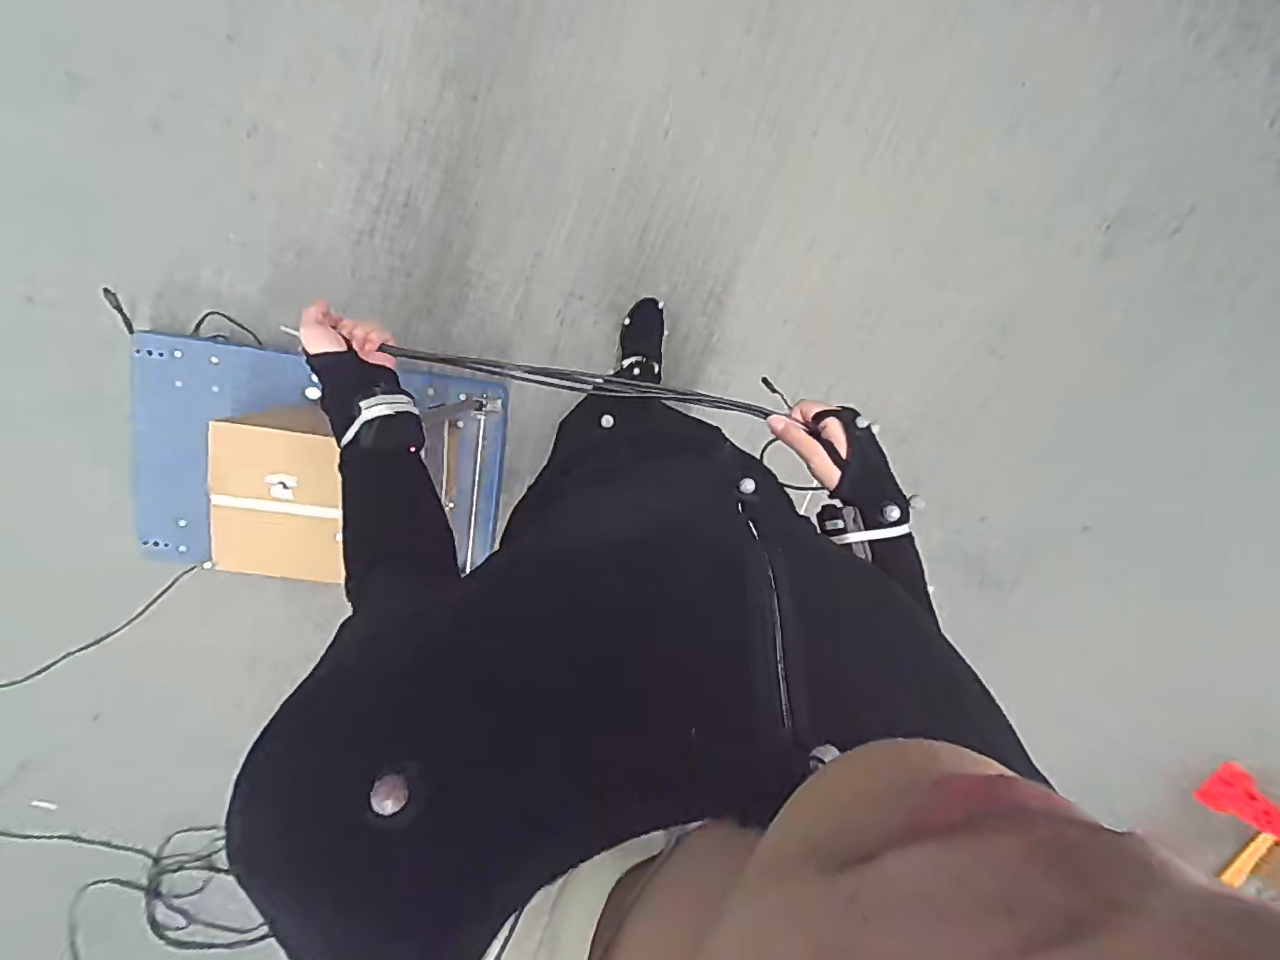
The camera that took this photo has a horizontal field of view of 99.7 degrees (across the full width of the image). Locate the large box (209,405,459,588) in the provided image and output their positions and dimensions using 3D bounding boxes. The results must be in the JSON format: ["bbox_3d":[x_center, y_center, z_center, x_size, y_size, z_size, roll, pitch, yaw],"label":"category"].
[{"bbox_3d":[-0.654,0.021,1.224,0.408,0.320,0.320,8,102,-6],"label":"large box"}]
